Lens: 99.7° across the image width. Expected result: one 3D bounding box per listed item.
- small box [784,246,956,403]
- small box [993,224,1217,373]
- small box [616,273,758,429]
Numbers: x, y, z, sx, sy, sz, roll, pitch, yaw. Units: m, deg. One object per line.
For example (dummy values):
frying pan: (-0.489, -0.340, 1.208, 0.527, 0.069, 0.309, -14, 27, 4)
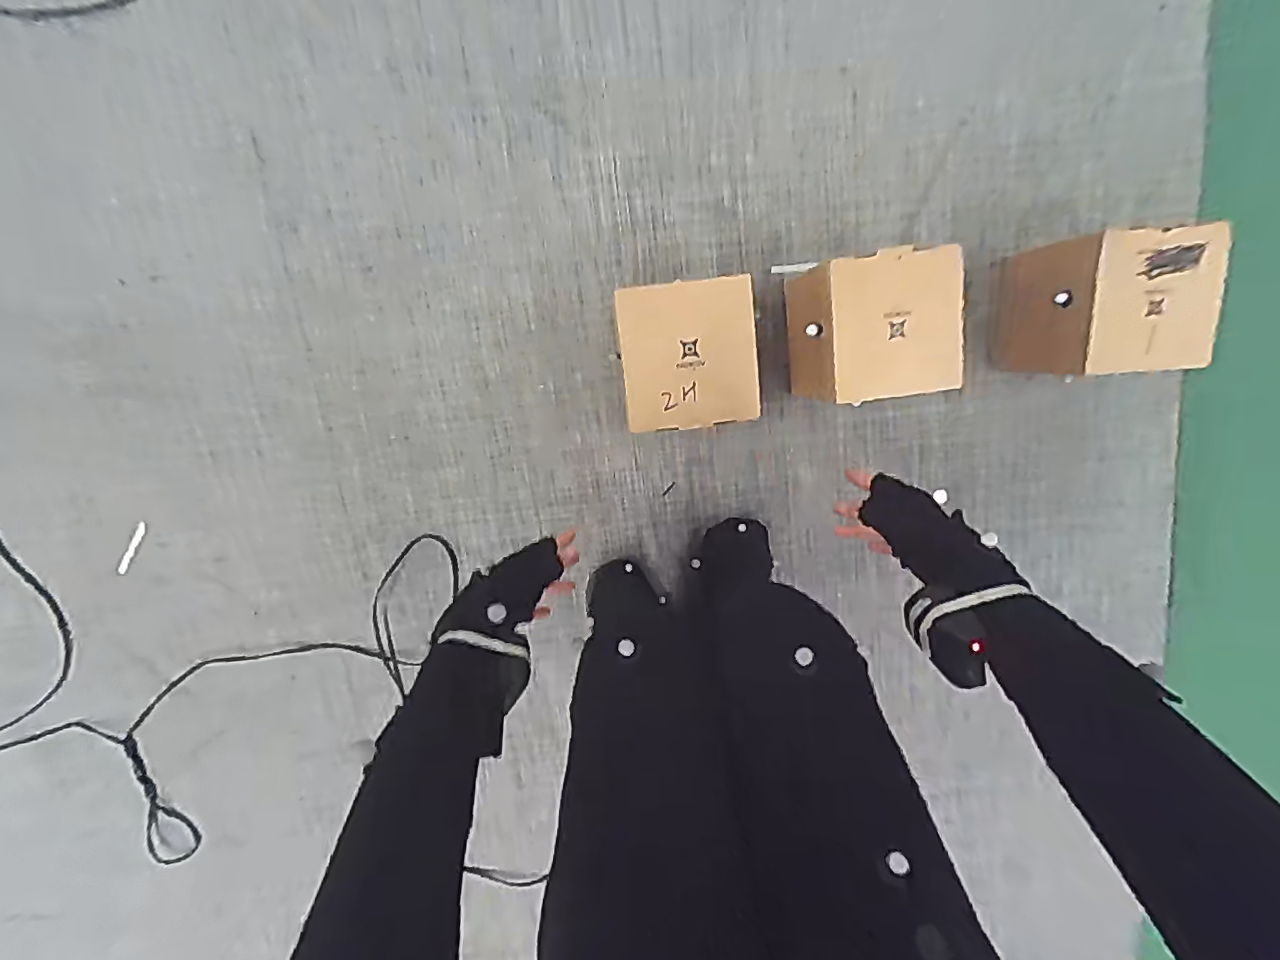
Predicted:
small box: (0.308, -0.208, 0.751, 0.168, 0.176, 0.179, -8, 101, -2)
small box: (0.633, -0.243, 0.760, 0.168, 0.176, 0.179, -4, 102, -2)
small box: (0.056, -0.171, 0.742, 0.168, 0.176, 0.179, -7, 102, -1)
